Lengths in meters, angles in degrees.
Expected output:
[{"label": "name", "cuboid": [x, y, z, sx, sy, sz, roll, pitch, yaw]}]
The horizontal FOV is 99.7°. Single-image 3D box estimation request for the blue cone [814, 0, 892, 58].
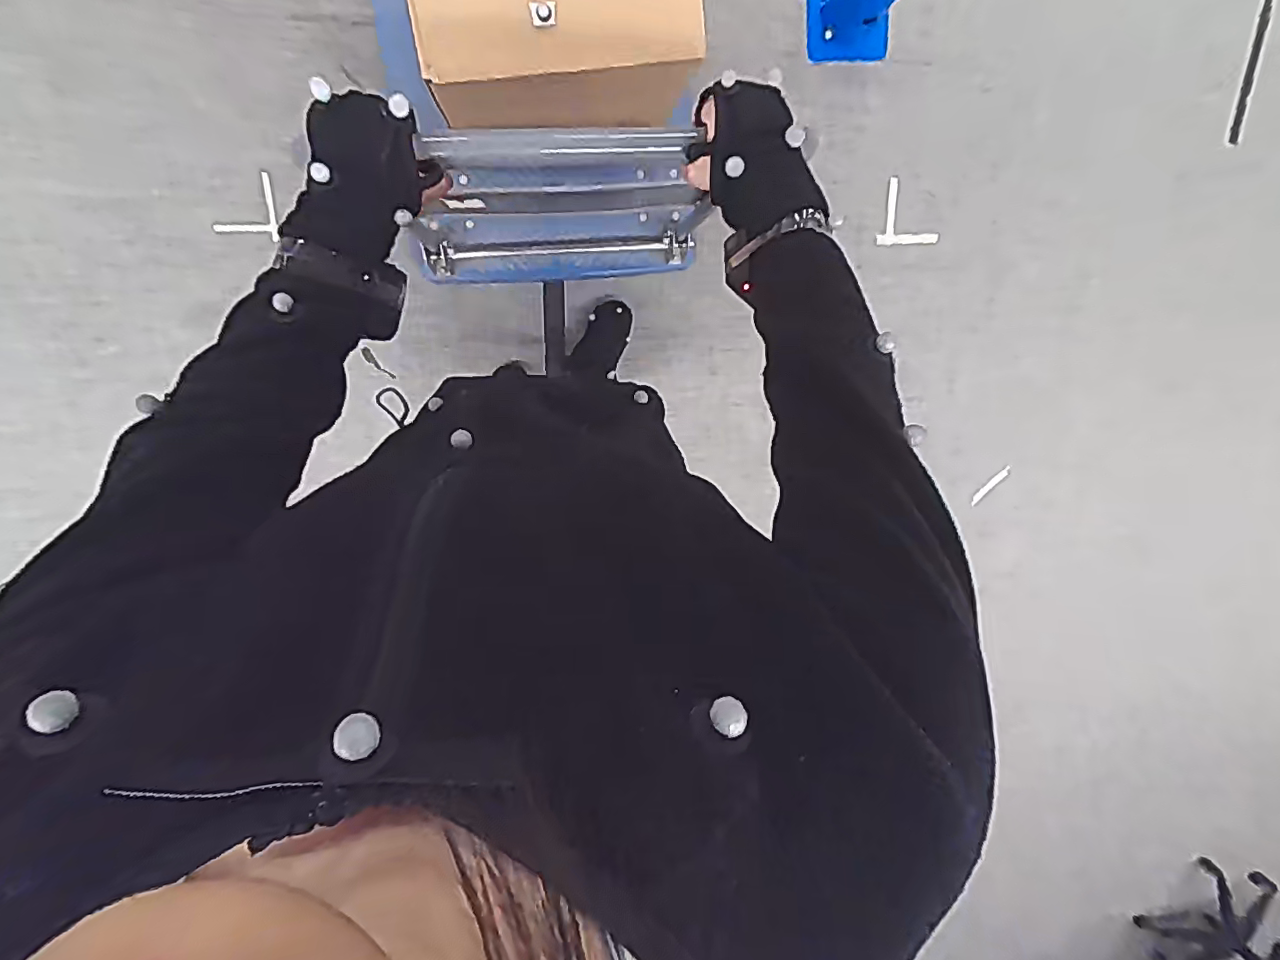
[{"label": "blue cone", "cuboid": [0.512, -1.033, 1.079, 0.193, 0.380, 0.192, -6, 106, -8]}]
